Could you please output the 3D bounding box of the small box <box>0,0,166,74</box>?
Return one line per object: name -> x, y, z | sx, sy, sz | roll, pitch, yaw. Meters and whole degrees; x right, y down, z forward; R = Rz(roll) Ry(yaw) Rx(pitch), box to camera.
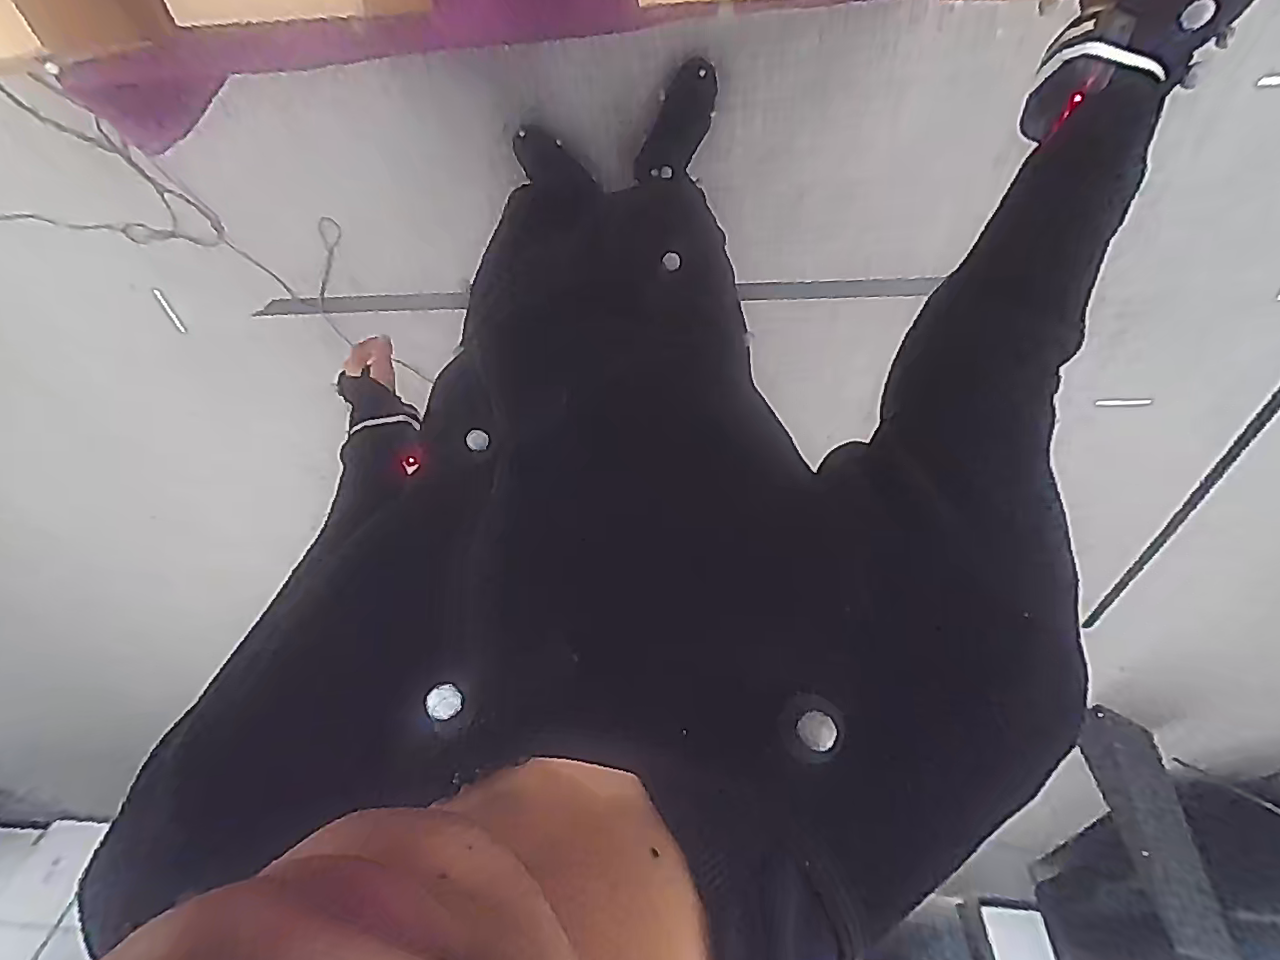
small box -> -0.623, -0.494, 0.508 | 0.179, 0.176, 0.168 | -5, 131, 9
